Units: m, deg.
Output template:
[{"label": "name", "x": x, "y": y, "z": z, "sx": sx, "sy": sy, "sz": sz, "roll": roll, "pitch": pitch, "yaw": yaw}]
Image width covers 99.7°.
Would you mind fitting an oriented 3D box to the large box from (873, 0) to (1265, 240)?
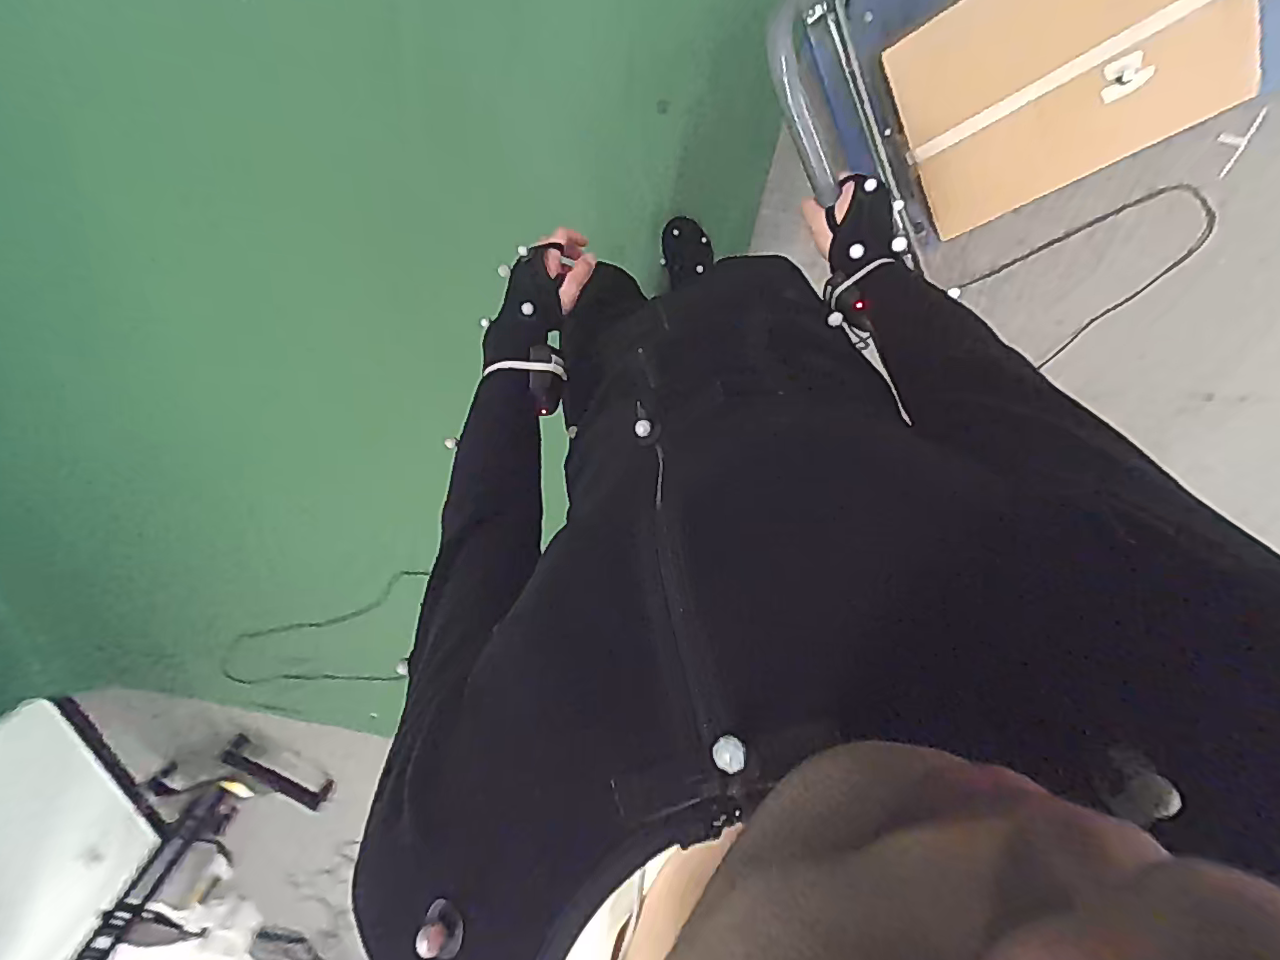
[{"label": "large box", "x": 0.648, "y": -0.671, "z": 0.889, "sx": 0.408, "sy": 0.320, "sz": 0.320, "roll": -20, "pitch": 119, "yaw": 30}]
